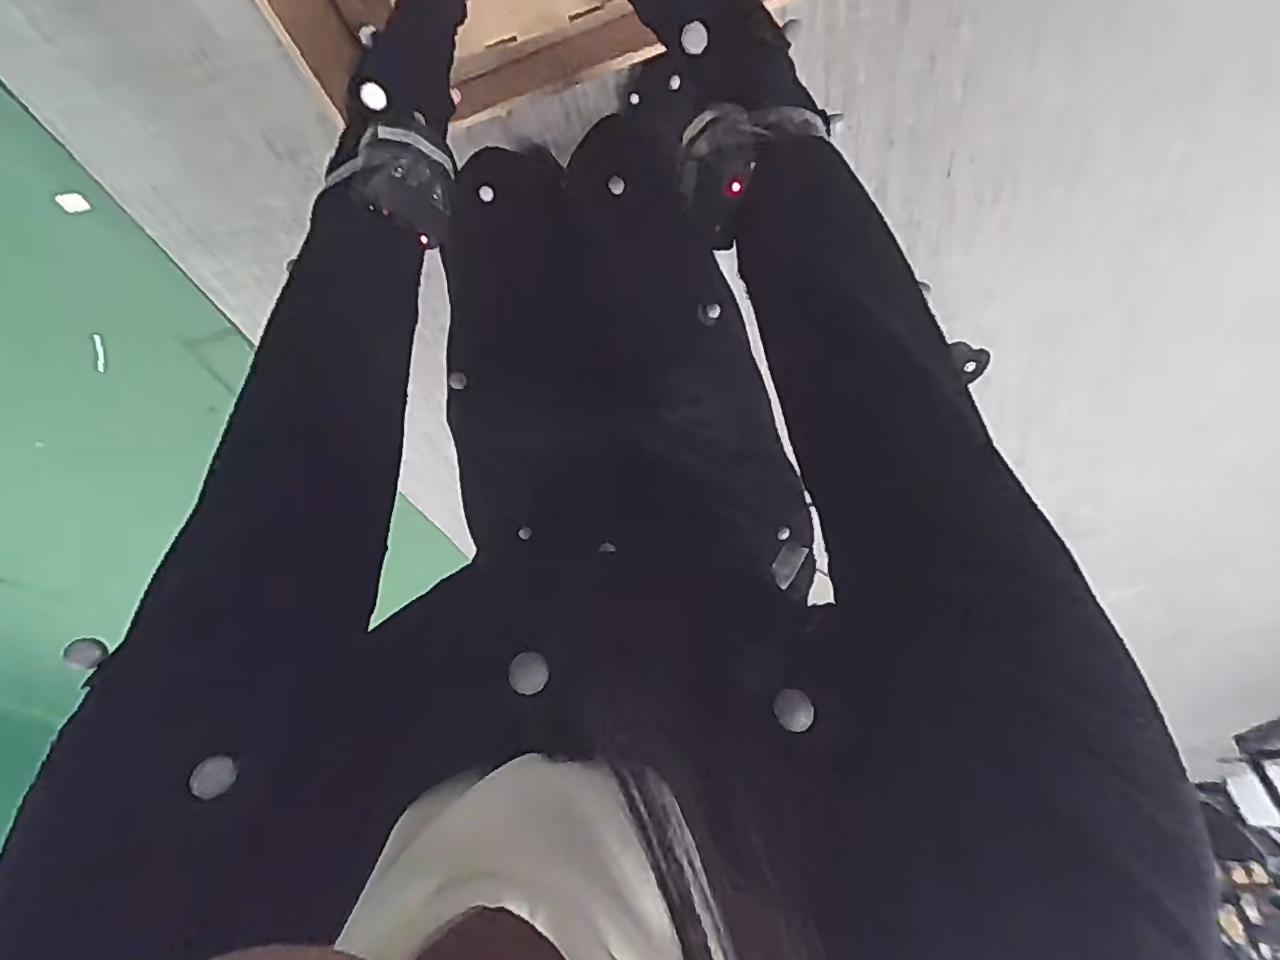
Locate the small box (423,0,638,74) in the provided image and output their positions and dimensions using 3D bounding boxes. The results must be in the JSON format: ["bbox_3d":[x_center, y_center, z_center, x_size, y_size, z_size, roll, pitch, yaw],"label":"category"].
[{"bbox_3d":[-0.097,-0.468,0.424,0.168,0.176,0.179,-10,139,13],"label":"small box"}]
